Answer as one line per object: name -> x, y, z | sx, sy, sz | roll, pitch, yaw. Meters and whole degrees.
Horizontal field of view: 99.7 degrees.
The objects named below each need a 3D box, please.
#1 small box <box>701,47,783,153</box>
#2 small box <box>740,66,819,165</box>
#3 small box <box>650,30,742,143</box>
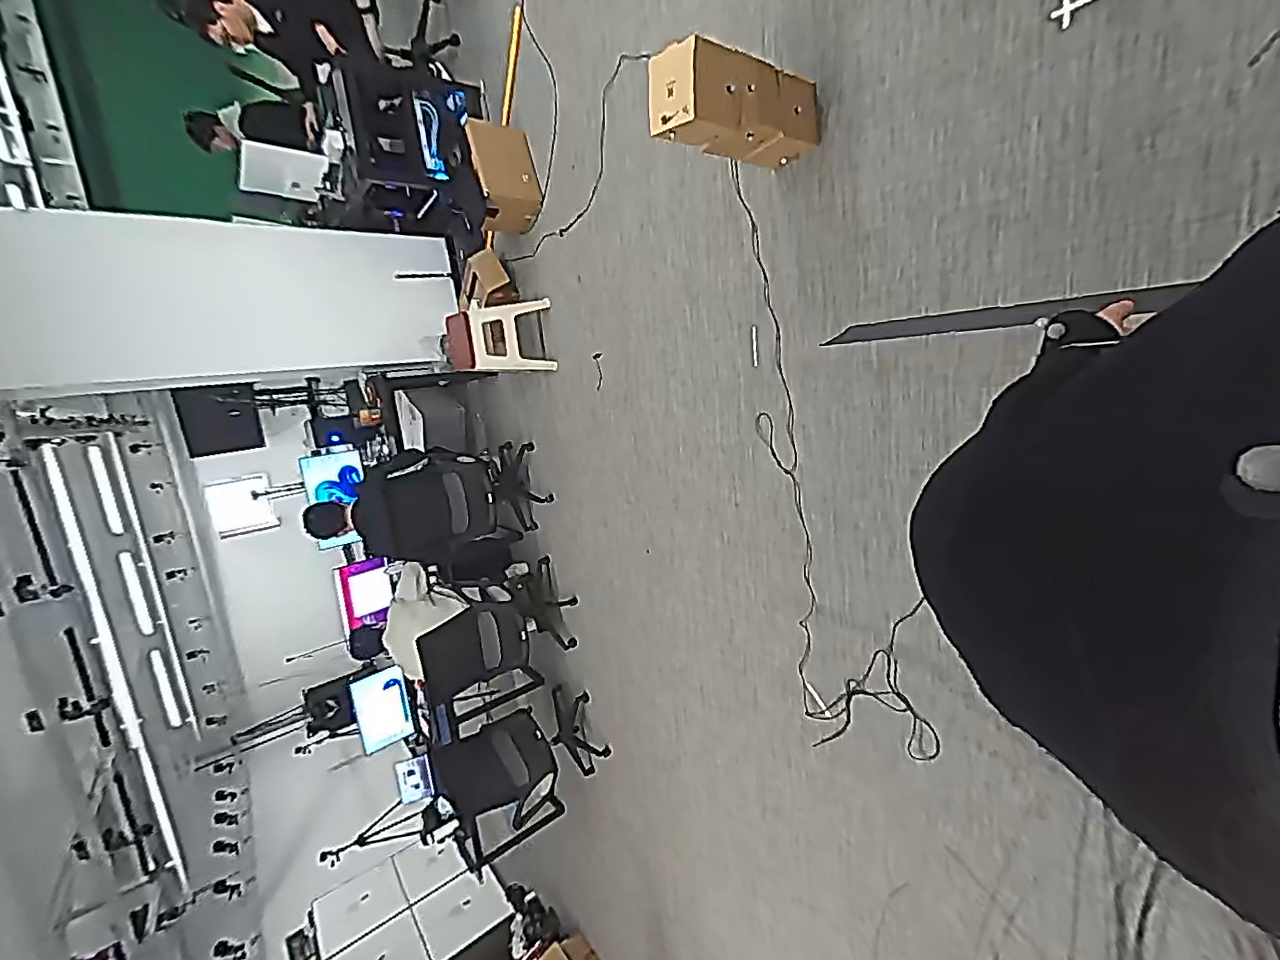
small box -> 0.271, -1.023, 1.478 | 0.168, 0.176, 0.179 | -2, 99, 53
small box -> 0.400, -1.050, 1.572 | 0.168, 0.176, 0.179 | 4, 105, 53
small box -> 0.143, -0.991, 1.380 | 0.168, 0.176, 0.179 | 19, 116, 49
